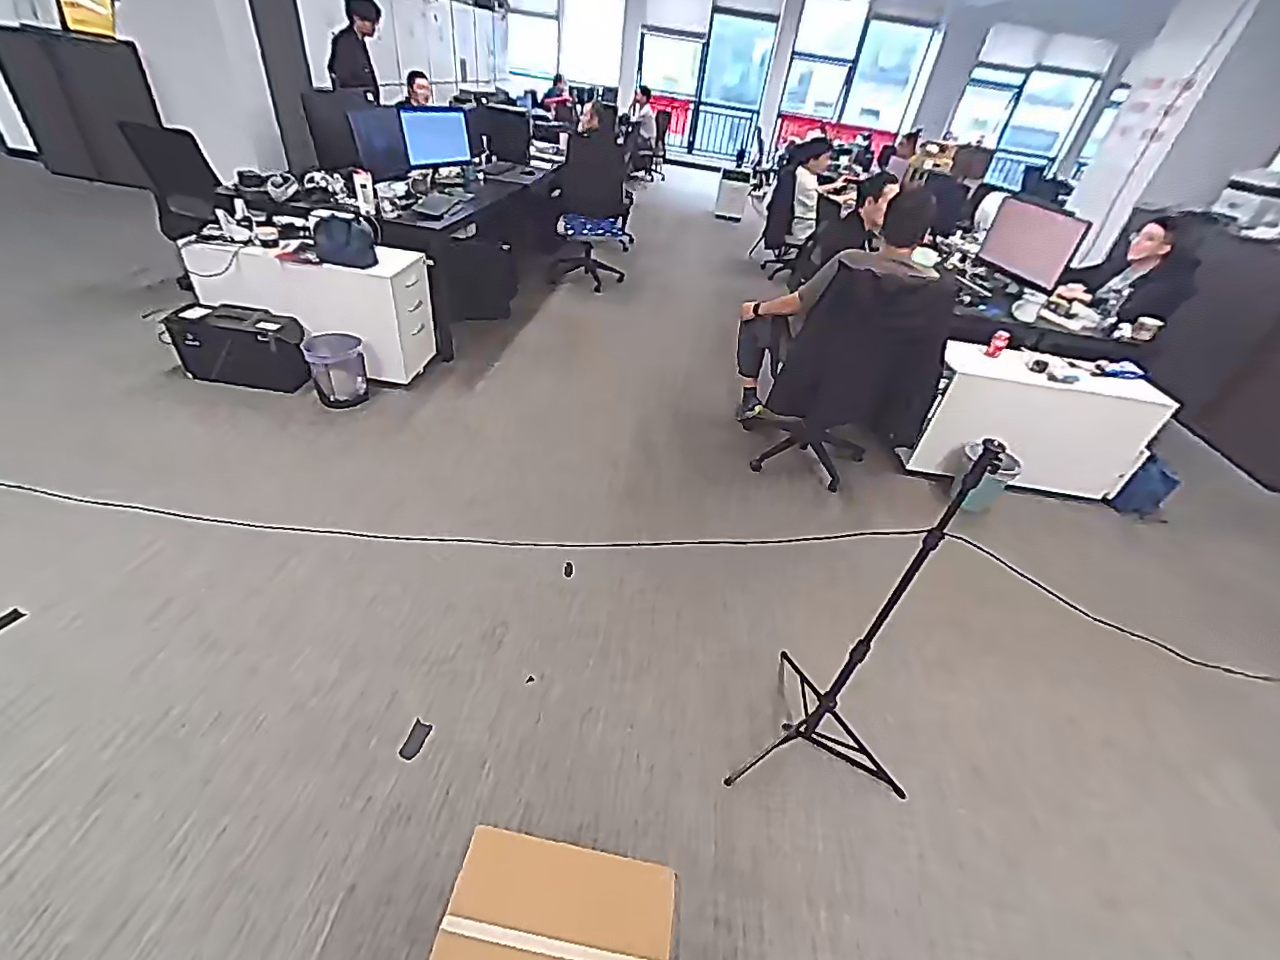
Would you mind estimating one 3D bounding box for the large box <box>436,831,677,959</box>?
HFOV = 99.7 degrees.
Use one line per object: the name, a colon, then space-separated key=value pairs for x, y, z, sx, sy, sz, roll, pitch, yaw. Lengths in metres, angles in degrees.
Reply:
large box: x=-0.164 y=0.933 z=1.025 sx=0.408 sy=0.320 sz=0.320 roll=12 pitch=37 yaw=2
